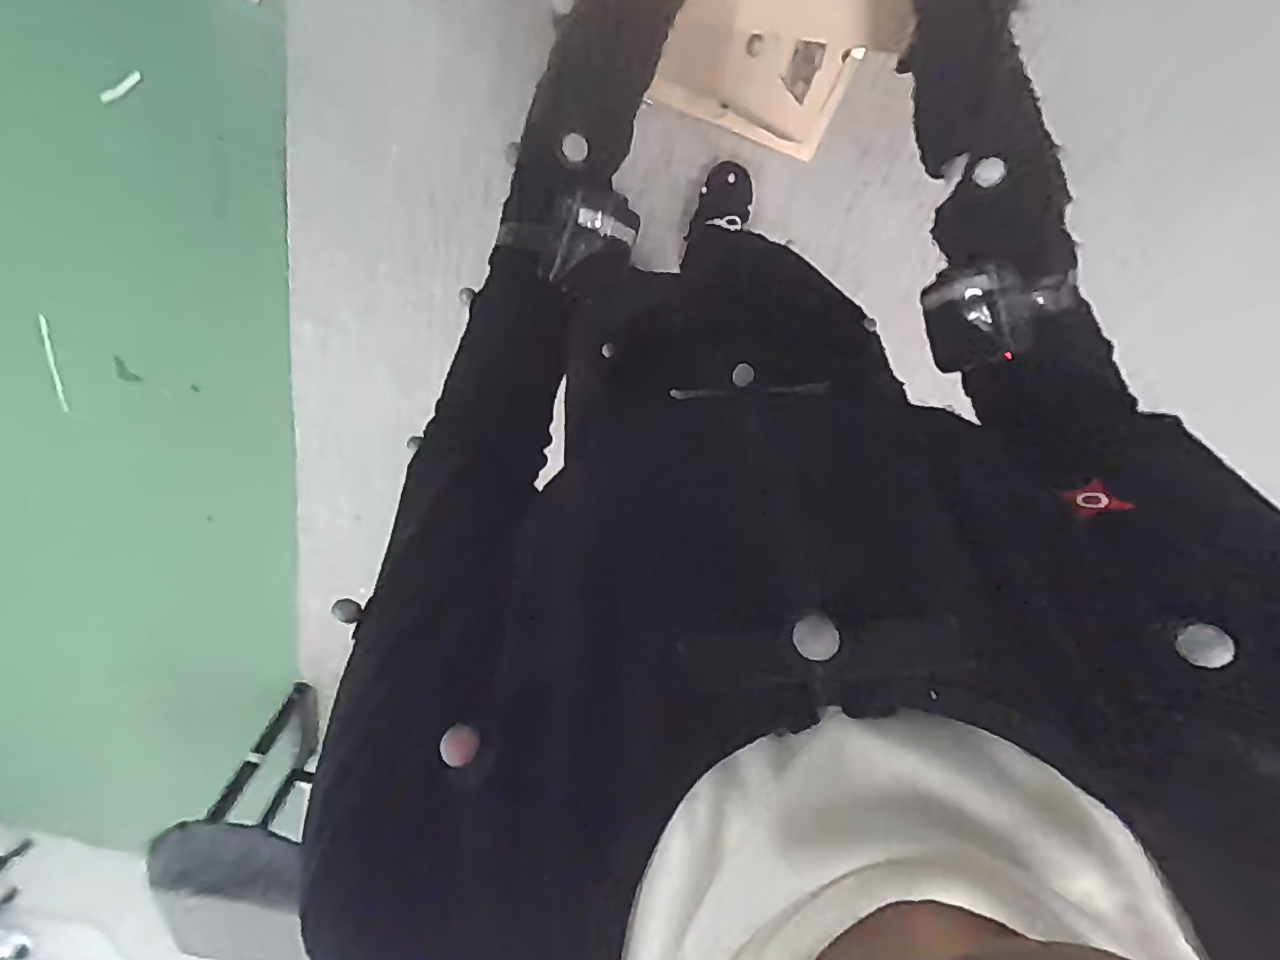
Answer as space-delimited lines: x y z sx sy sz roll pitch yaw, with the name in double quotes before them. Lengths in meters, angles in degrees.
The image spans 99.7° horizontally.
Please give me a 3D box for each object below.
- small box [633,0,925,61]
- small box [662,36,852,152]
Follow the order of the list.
"small box" 0.093 -0.387 0.340 0.179 0.176 0.168 5 136 0
"small box" 0.140 -0.502 0.610 0.179 0.176 0.168 23 122 -10
